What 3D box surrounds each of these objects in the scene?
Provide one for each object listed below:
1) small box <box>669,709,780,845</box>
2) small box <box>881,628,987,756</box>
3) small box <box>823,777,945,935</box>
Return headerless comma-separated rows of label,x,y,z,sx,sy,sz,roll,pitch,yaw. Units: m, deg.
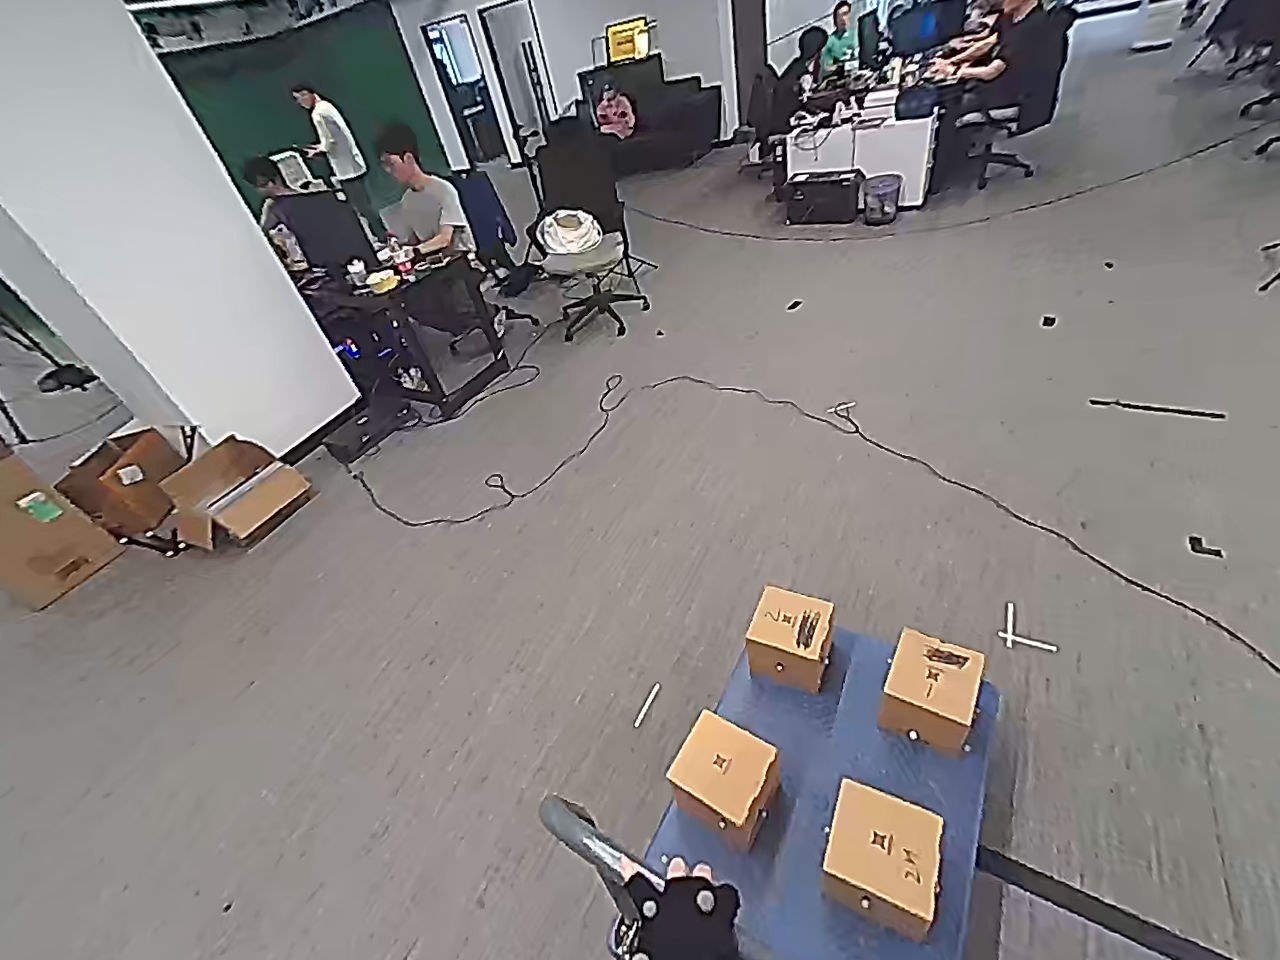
small box,0.185,0.636,1.155,0.179,0.176,0.168,18,49,31
small box,0.648,0.471,1.204,0.168,0.176,0.179,16,50,31
small box,0.447,0.697,1.003,0.179,0.176,0.168,11,47,28
